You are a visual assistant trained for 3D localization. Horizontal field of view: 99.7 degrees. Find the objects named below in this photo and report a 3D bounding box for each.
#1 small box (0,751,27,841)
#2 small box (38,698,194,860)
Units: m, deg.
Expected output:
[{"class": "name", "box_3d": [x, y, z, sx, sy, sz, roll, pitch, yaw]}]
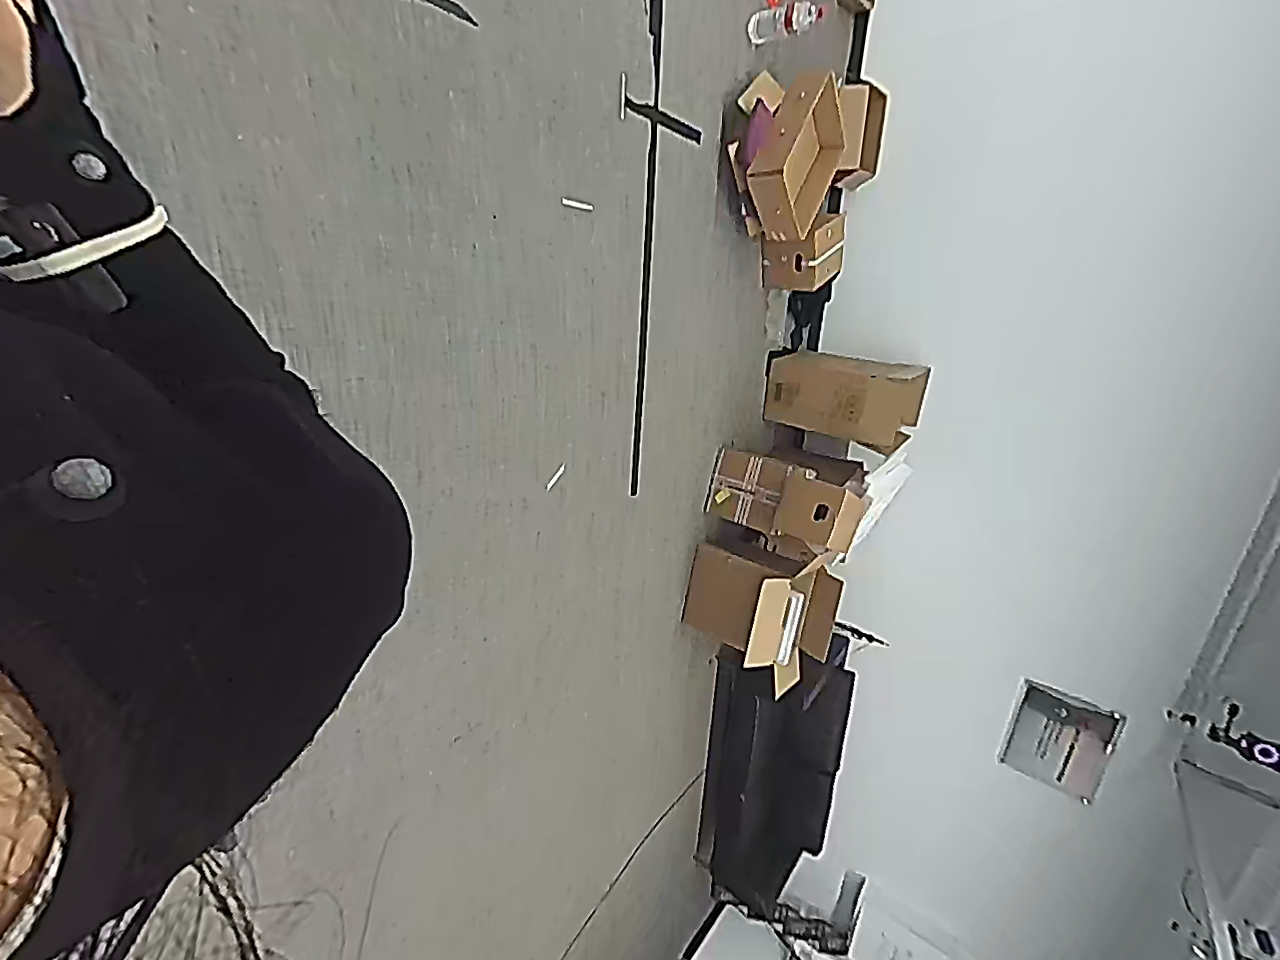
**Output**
[{"class": "small box", "box_3d": [-1.283, 0.591, 0.981, 0.179, 0.176, 0.168, -29, 127, -46]}, {"class": "small box", "box_3d": [-1.013, 0.564, 1.046, 0.179, 0.176, 0.168, -23, 123, -48]}]
